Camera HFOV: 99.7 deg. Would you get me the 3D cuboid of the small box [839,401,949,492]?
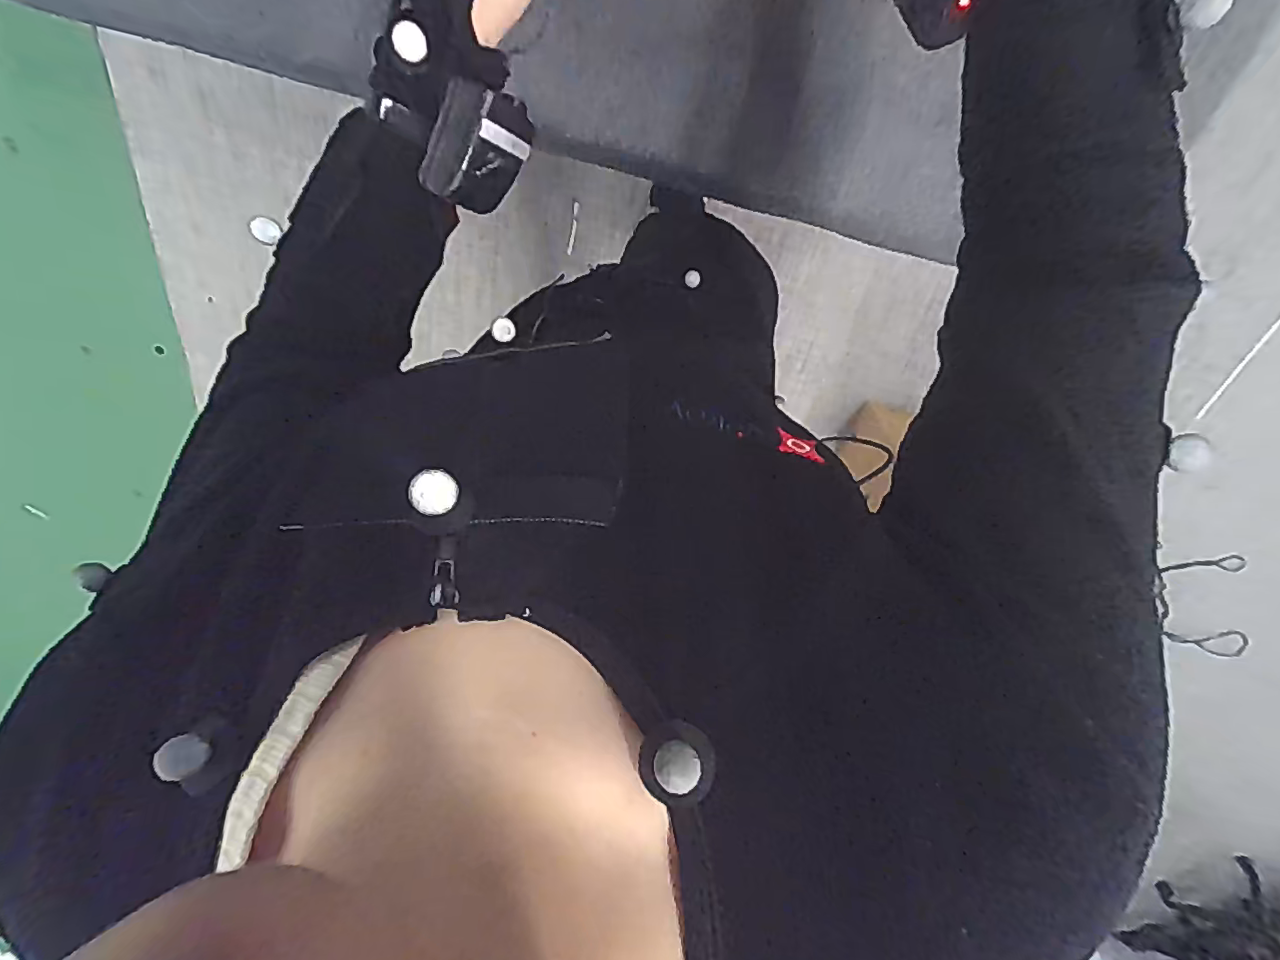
[{"bbox_3d":[0.607,-0.064,1.321,0.168,0.176,0.179,16,125,-4],"label":"small box"}]
